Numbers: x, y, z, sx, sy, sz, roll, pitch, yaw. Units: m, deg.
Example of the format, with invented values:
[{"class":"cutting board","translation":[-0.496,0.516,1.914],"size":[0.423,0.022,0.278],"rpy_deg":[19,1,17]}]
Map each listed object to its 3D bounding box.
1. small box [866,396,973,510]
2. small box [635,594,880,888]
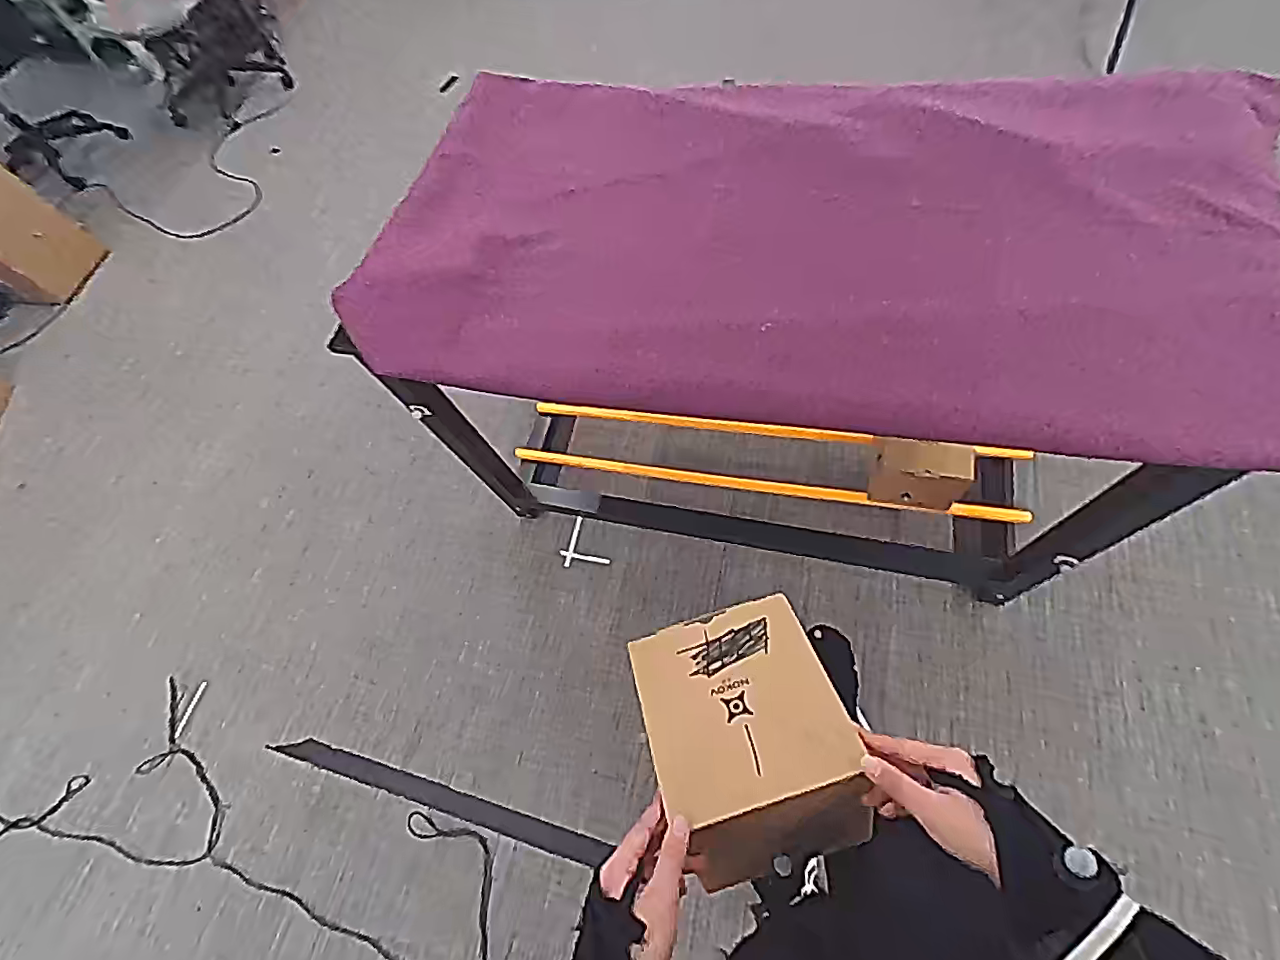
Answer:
[{"class":"small box","translation":[0.588,-0.054,1.152],"size":[0.168,0.176,0.179],"rpy_deg":[8,68,15]},{"class":"small box","translation":[0.104,0.246,0.516],"size":[0.168,0.176,0.179],"rpy_deg":[-18,39,0]}]
